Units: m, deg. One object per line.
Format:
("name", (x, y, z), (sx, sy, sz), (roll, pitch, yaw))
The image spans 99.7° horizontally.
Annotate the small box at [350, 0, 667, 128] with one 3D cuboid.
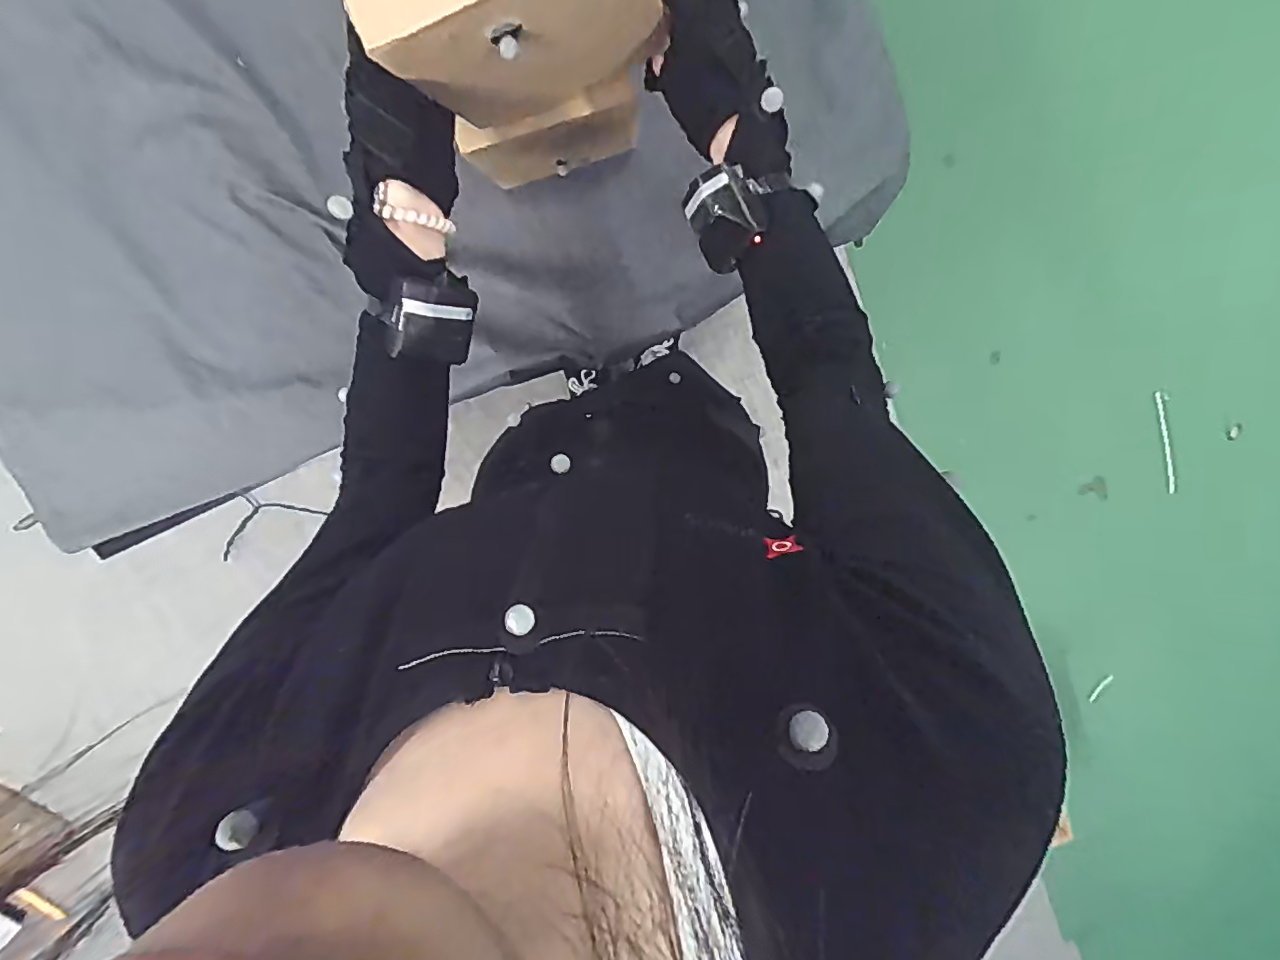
("small box", (-0.091, -0.370, 0.360), (0.179, 0.176, 0.168), (-15, 107, 13))
